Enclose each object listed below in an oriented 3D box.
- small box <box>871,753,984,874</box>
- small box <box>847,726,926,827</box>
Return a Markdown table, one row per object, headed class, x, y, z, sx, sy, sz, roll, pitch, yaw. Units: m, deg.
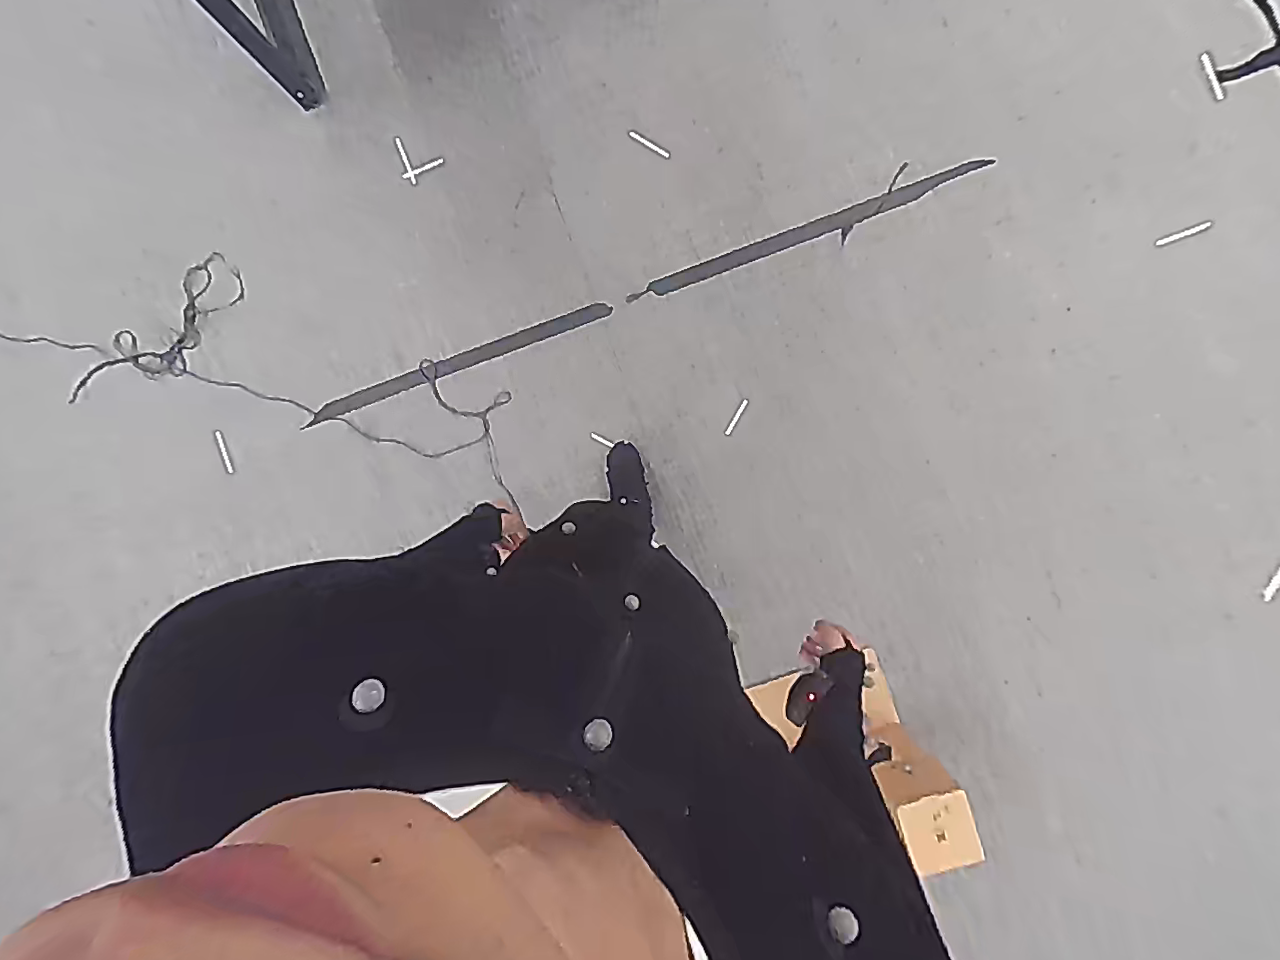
| class | x | y | z | sx | sy | sz | roll | pitch | yaw |
| --- | --- | --- | --- | --- | --- | --- | --- | --- | --- |
| small box | 0.701 | 0.815 | 1.336 | 0.168 | 0.176 | 0.179 | -17 | 90 | 3 |
| small box | 0.699 | 0.810 | 1.501 | 0.168 | 0.176 | 0.179 | -18 | 89 | 3 |
